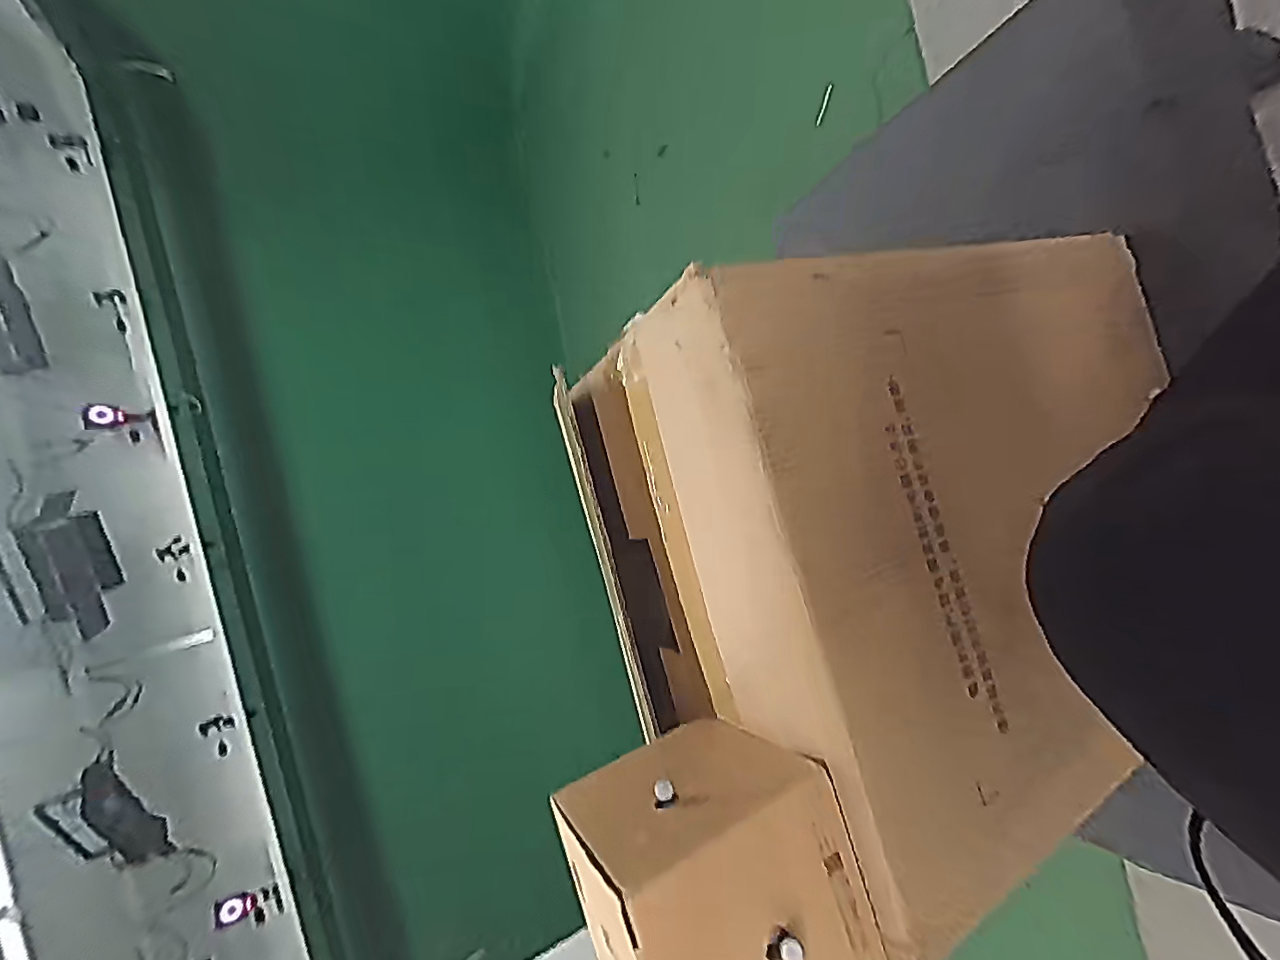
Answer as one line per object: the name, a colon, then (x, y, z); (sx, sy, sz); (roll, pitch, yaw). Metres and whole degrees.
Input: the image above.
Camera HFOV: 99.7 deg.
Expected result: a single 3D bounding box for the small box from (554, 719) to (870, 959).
small box: (0.053, 0.316, 0.432); (0.179, 0.176, 0.168); (-24, 82, 64)
